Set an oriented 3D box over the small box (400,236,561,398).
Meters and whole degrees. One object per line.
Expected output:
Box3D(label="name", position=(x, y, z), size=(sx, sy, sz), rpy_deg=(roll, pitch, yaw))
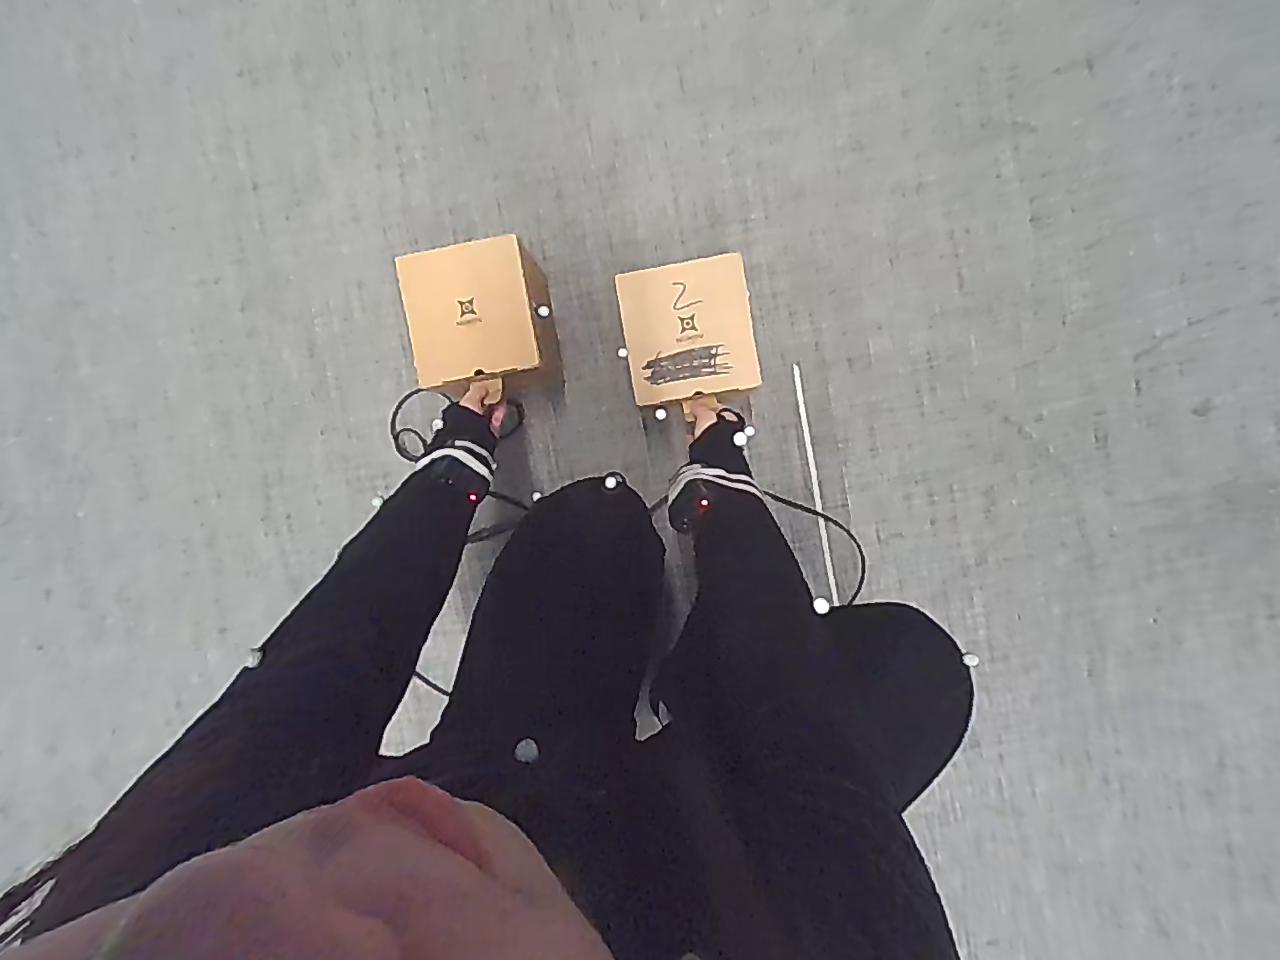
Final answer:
Box3D(label="small box", position=(-0.221, -0.226, 0.792), size=(0.168, 0.176, 0.179), rpy_deg=(-9, 93, 3))
